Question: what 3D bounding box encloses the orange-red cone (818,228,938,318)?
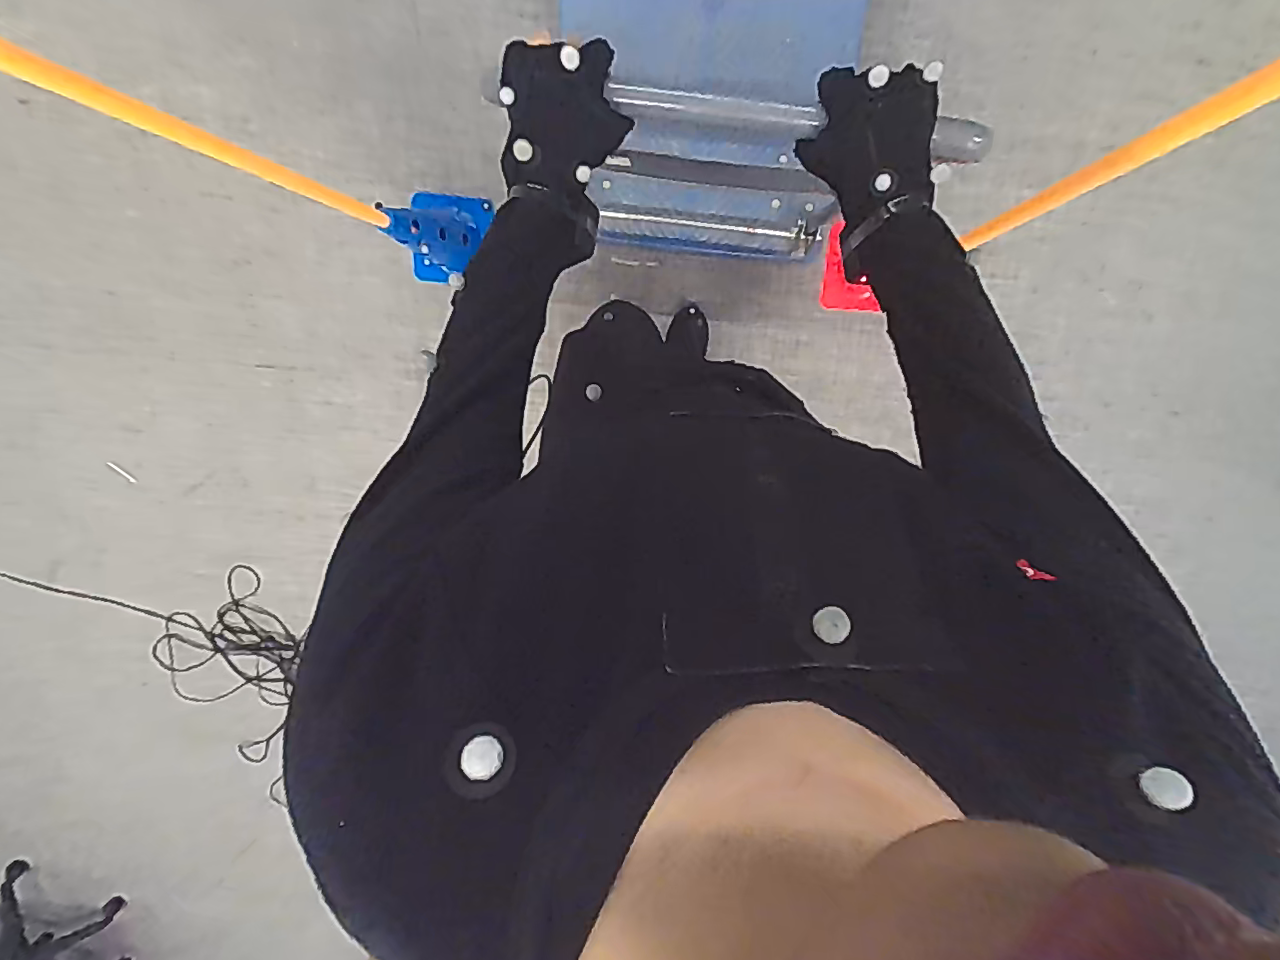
[{"bbox_3d":[0.539,-0.456,1.165,0.199,0.360,0.198,6,107,2],"label":"orange-red cone"}]
